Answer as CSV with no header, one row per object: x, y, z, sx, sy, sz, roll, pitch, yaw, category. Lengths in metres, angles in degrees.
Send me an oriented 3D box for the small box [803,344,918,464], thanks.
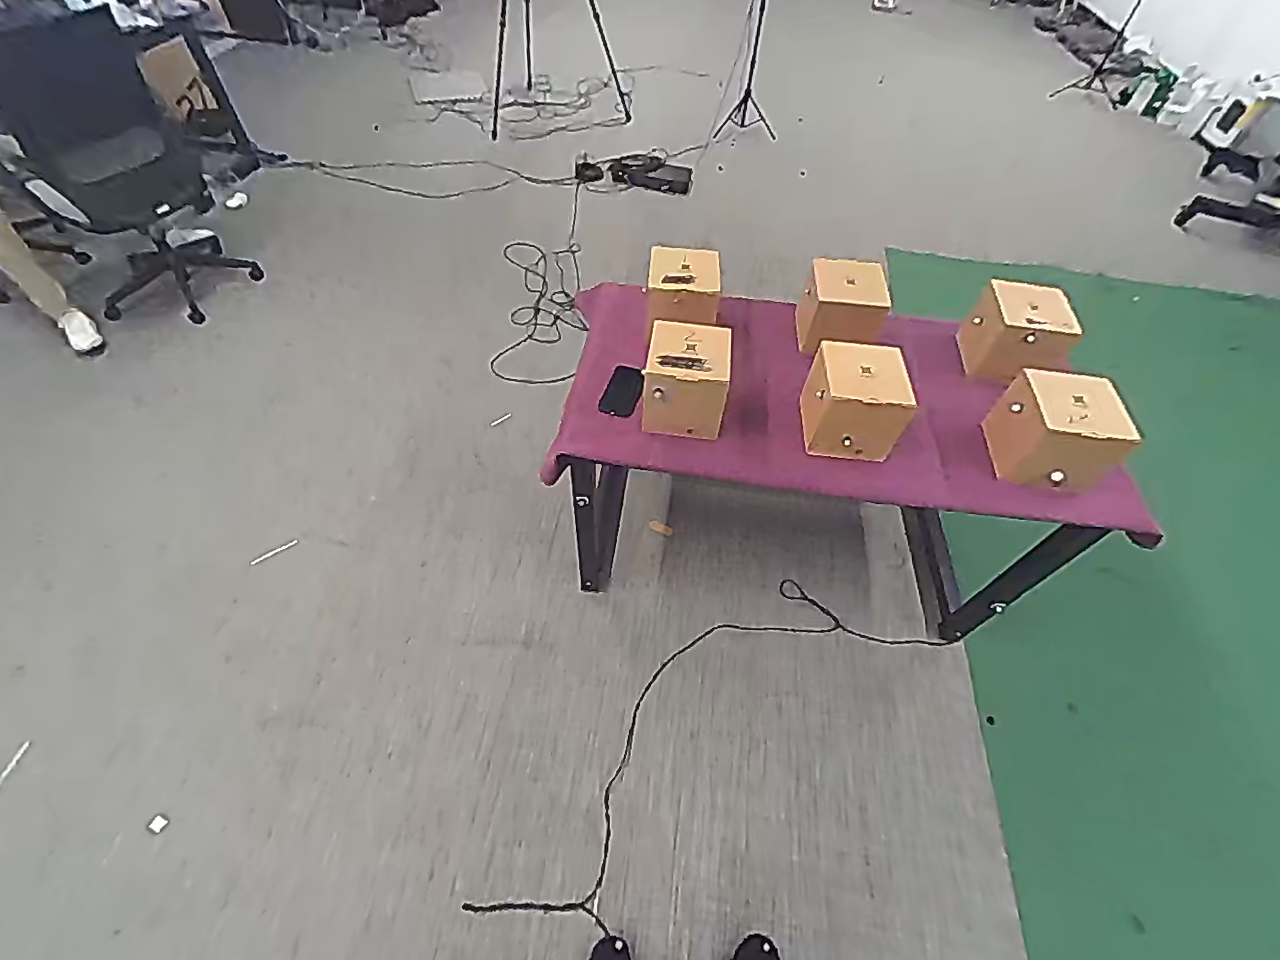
0.451,-0.159,1.139,0.168,0.176,0.179,6,52,2,small box

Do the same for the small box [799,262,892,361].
0.495,-0.408,1.331,0.168,0.176,0.179,7,53,3,small box

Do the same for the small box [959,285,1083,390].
0.898,-0.337,1.297,0.168,0.176,0.179,9,52,5,small box

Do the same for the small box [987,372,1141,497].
0.844,-0.092,1.102,0.168,0.176,0.179,9,53,5,small box

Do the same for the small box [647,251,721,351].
0.107,-0.437,1.331,0.168,0.176,0.179,5,52,0,small box
